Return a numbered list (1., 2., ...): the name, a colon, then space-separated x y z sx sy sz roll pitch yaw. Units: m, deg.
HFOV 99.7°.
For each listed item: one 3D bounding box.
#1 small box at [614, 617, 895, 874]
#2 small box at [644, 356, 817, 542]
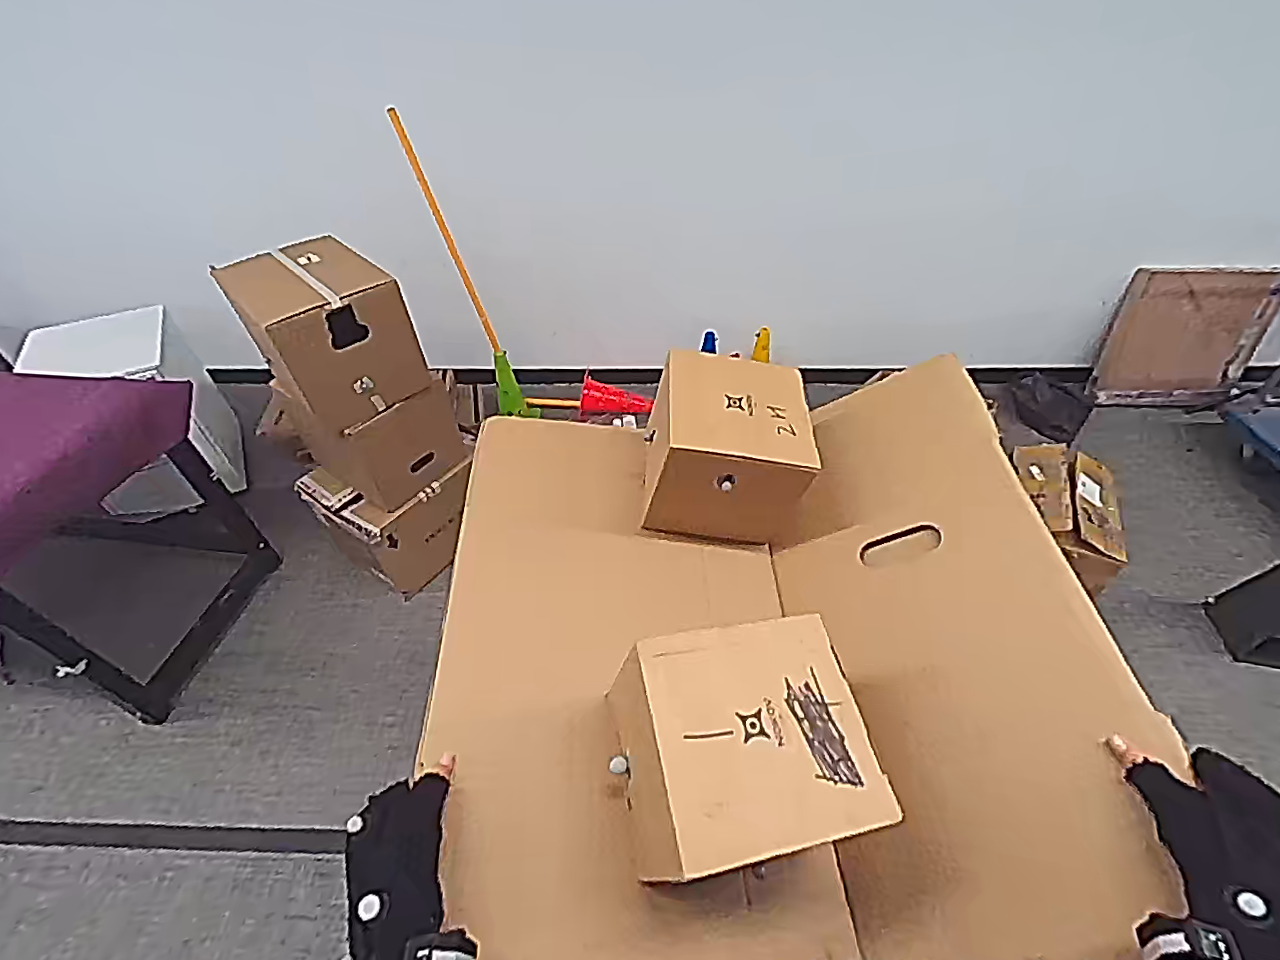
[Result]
1. small box: 0.083 0.242 0.496 0.179 0.176 0.168 -4 55 -15
2. small box: 0.105 -0.034 0.708 0.179 0.176 0.168 9 53 -7
